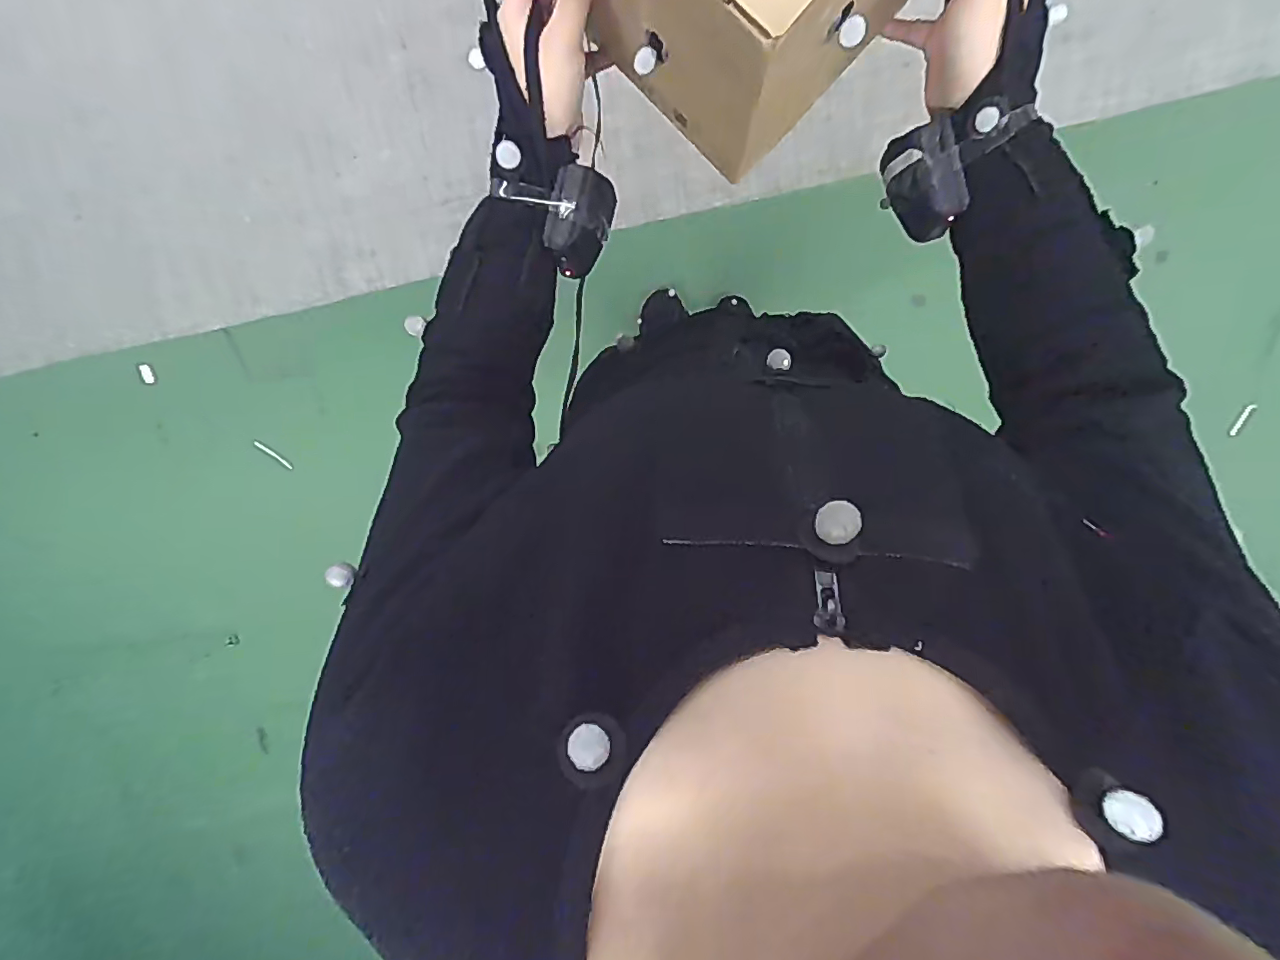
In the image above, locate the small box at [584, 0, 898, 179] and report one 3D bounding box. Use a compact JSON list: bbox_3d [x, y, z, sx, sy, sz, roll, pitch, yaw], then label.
[{"bbox_3d":[0.068,-0.331,0.329,0.168,0.176,0.179,44,99,-2],"label":"small box"}]
